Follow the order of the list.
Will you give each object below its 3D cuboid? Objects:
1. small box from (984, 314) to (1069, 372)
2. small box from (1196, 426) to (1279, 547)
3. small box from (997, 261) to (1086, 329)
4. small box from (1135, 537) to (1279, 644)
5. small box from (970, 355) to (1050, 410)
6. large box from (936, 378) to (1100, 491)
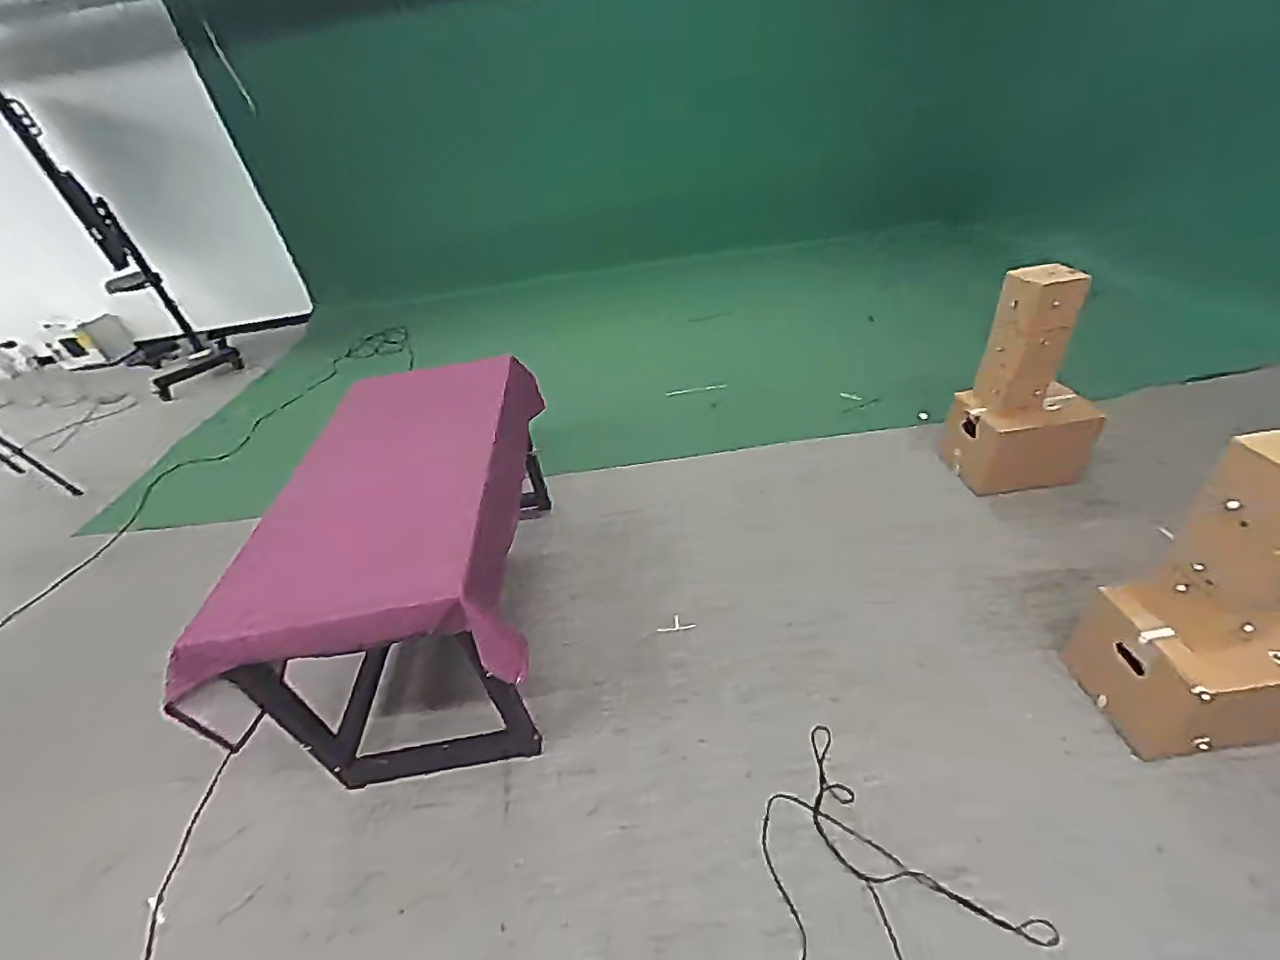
[{"bbox_3d":[1.384,-0.505,1.955,0.179,0.176,0.168,-11,38,-4],"label":"small box"},{"bbox_3d":[1.268,0.009,1.053,0.179,0.176,0.168,-9,36,4],"label":"small box"},{"bbox_3d":[1.362,-0.633,1.854,0.179,0.176,0.168,-11,38,-1],"label":"small box"},{"bbox_3d":[1.325,0.262,1.256,0.168,0.176,0.179,-10,36,0],"label":"small box"},{"bbox_3d":[1.398,-0.376,2.055,0.168,0.176,0.179,-9,37,0],"label":"small box"},{"bbox_3d":[1.500,-0.185,2.188,0.408,0.320,0.320,-8,38,0],"label":"large box"}]
